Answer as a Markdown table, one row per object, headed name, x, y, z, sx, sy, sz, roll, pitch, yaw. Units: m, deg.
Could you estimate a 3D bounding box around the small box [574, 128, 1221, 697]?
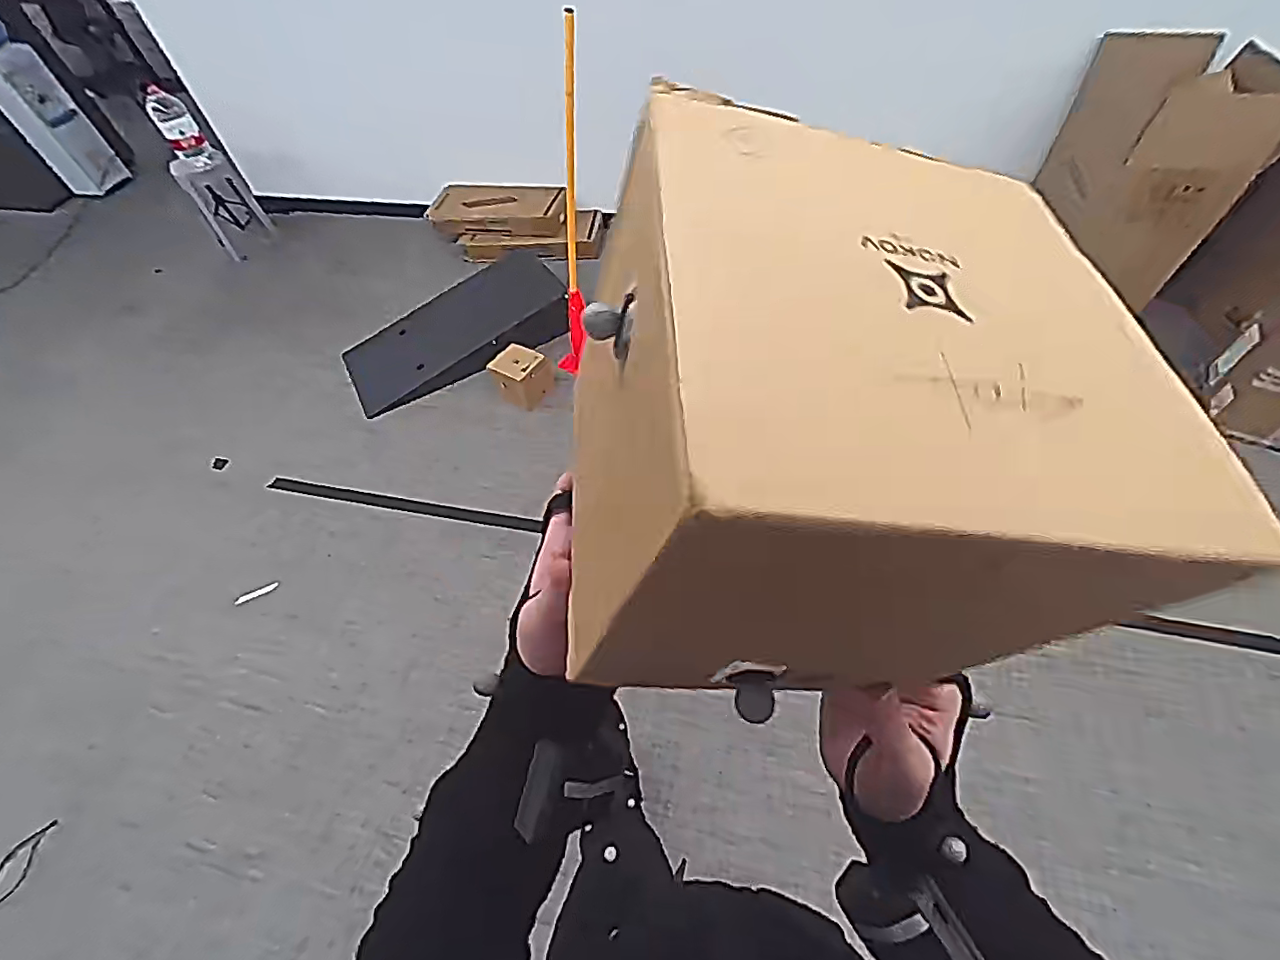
| name | x | y | z | sx | sy | sz | roll | pitch | yaw |
| --- | --- | --- | --- | --- | --- | --- | --- | --- | --- |
| small box | 0.062 | -0.012 | 0.244 | 0.168 | 0.176 | 0.179 | 4 | 57 | -13 |
